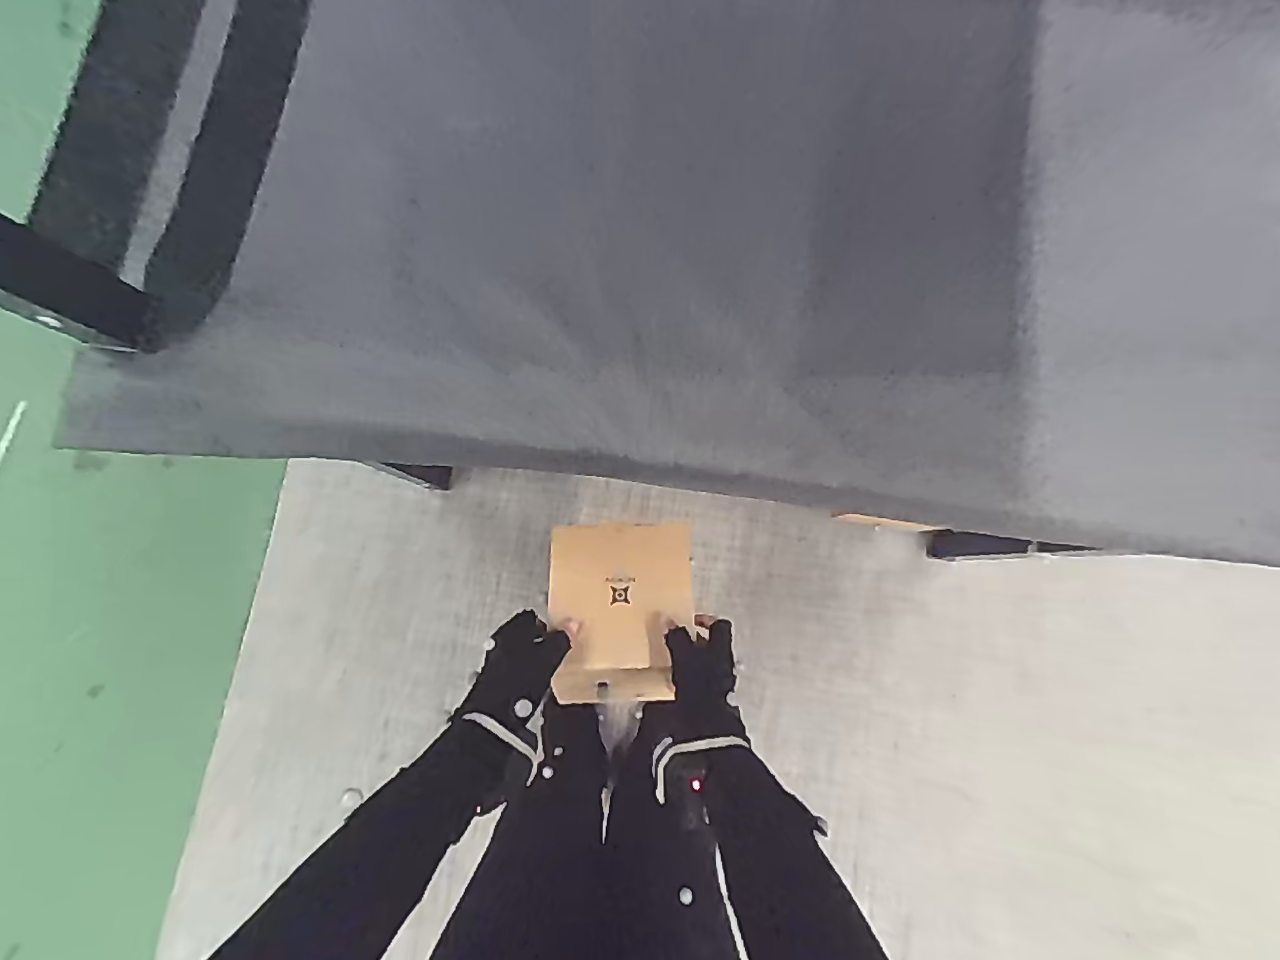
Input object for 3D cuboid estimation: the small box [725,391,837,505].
[{"bbox_3d":[0.258,-0.052,1.024,0.168,0.176,0.179,7,81,3],"label":"small box"}]
